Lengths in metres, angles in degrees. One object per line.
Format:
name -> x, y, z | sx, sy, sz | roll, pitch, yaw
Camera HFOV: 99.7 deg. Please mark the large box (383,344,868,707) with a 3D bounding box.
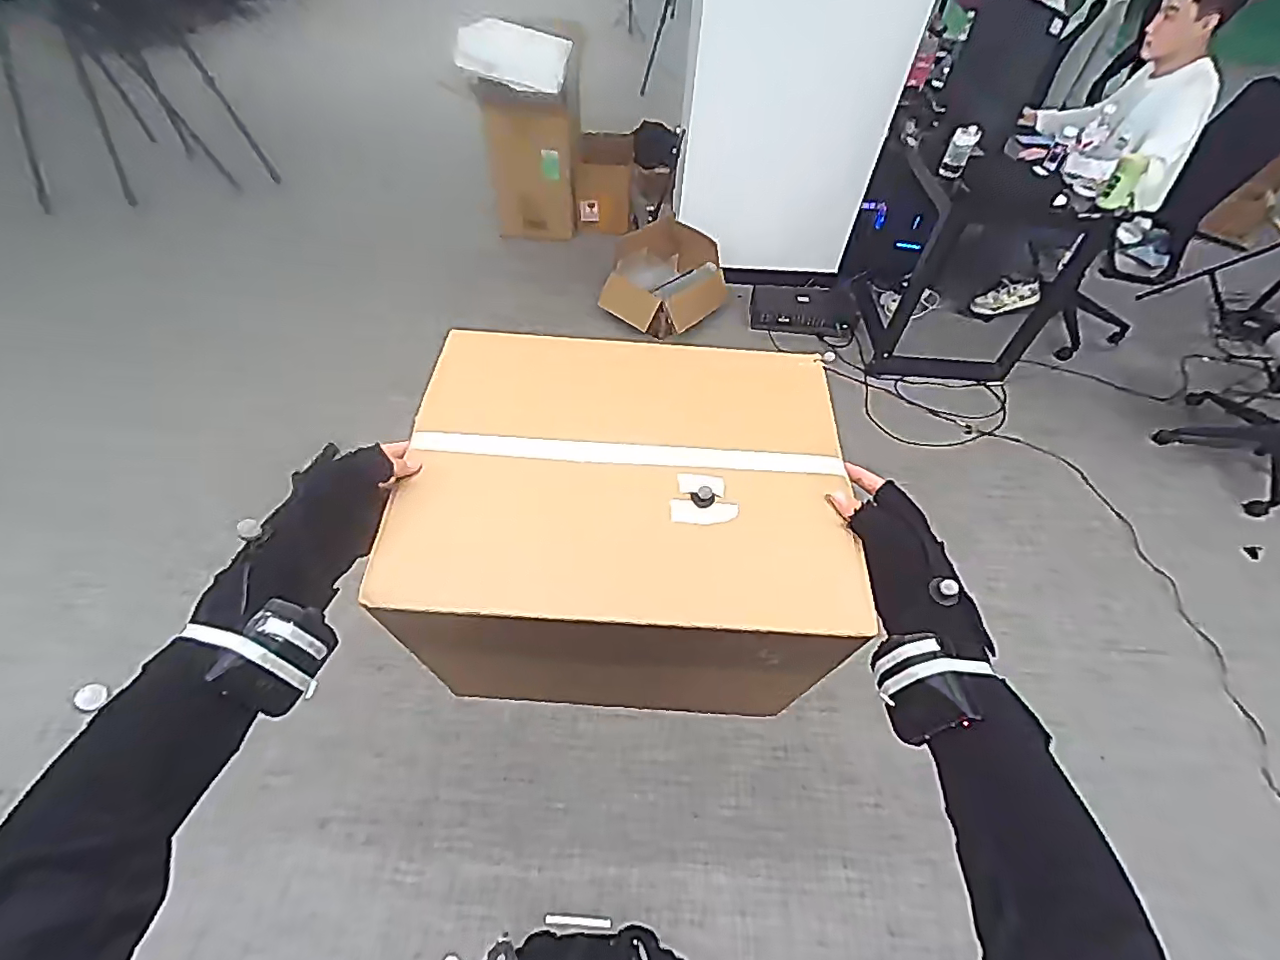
large box -> -0.015, 0.069, 0.641 | 0.408, 0.320, 0.320 | 4, 56, -1
